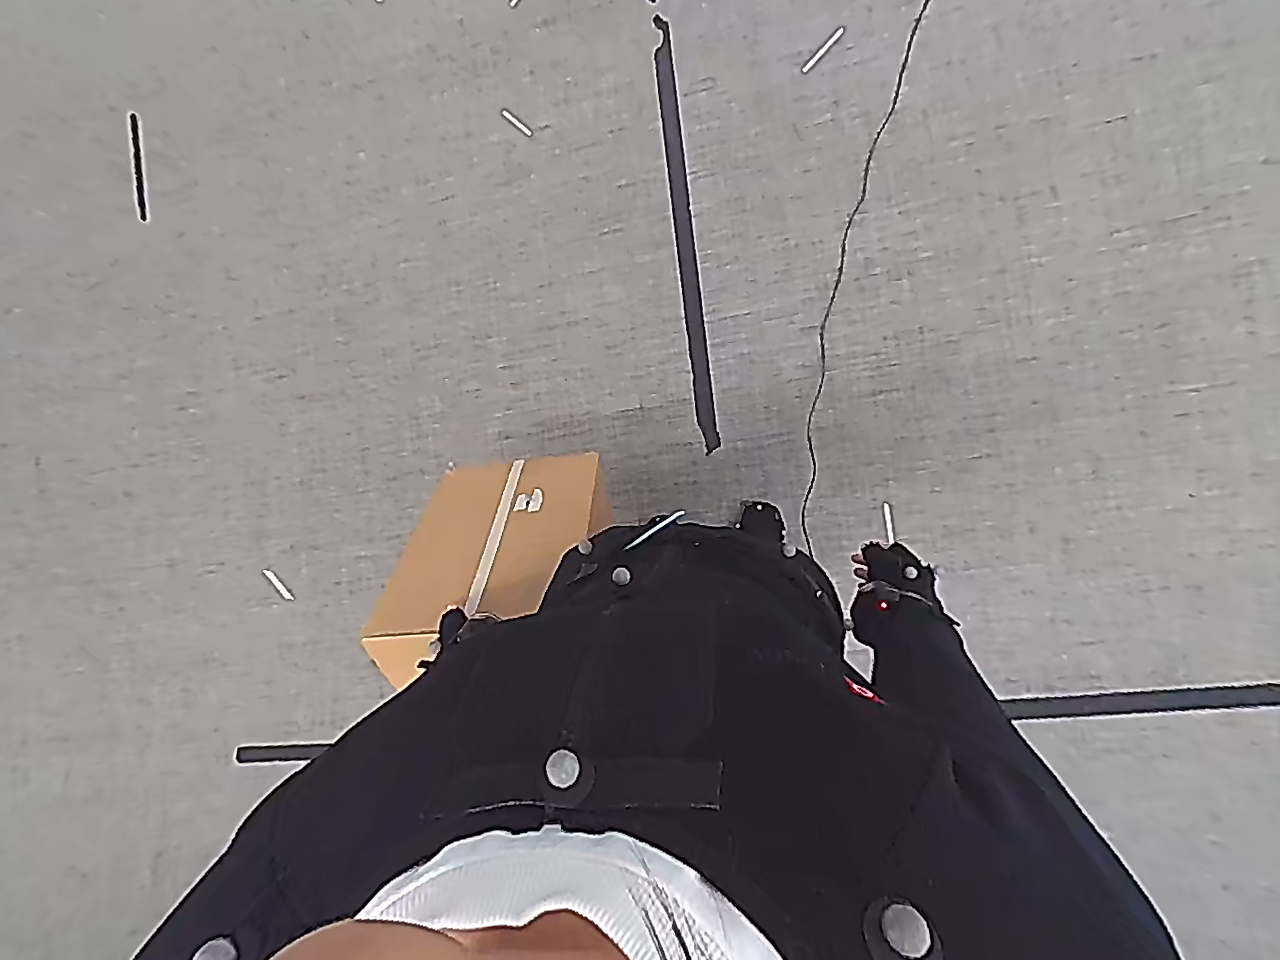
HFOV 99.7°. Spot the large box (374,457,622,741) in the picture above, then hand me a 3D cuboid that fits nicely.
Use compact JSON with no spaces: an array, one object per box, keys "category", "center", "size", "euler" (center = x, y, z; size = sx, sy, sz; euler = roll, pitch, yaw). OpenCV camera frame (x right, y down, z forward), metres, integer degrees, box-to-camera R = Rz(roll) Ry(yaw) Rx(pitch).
[{"category":"large box","center":[-0.212,0.207,1.002],"size":[0.320,0.408,0.320],"euler":[-5,127,5]}]
